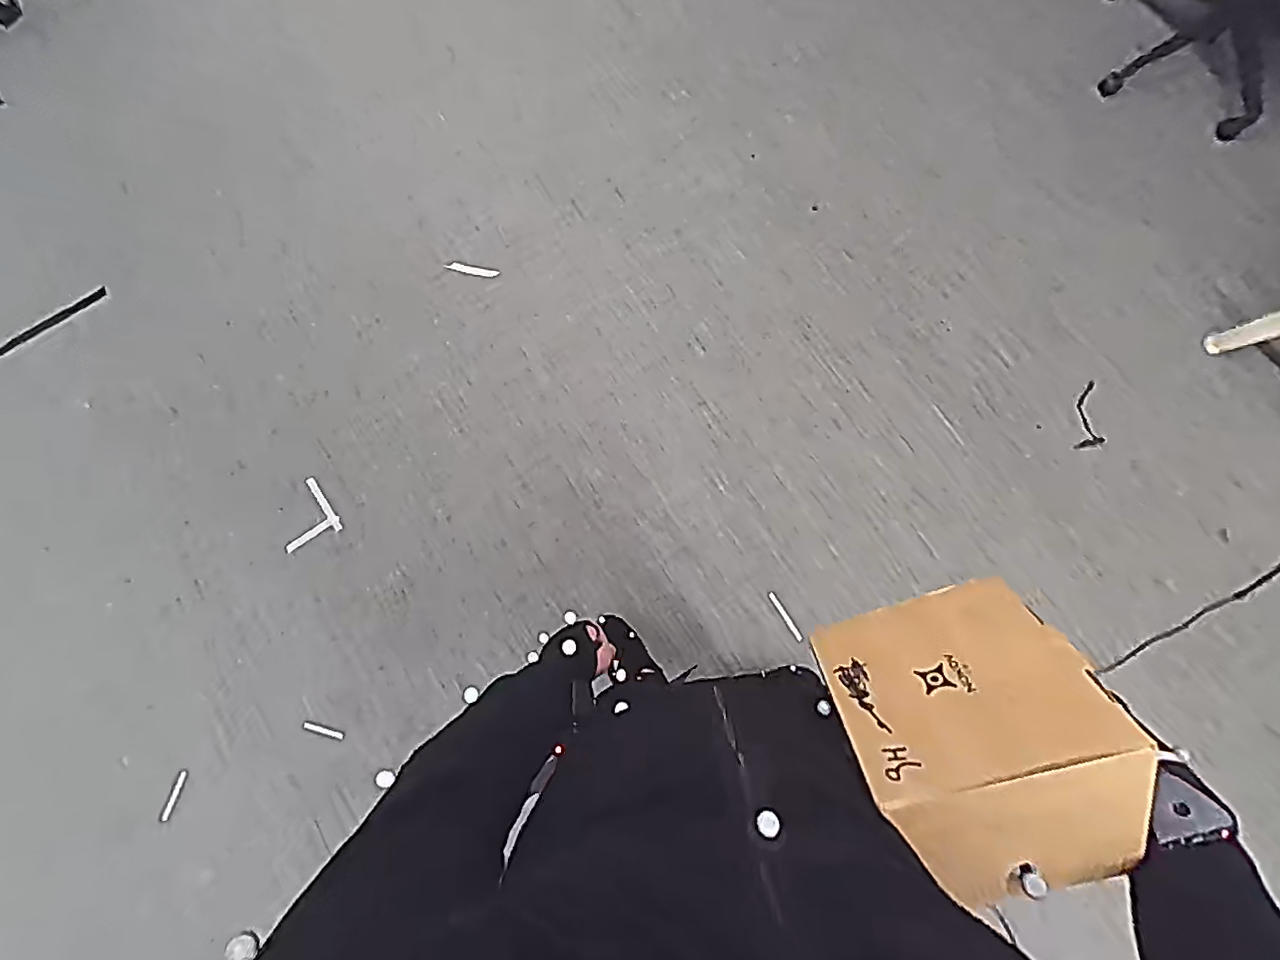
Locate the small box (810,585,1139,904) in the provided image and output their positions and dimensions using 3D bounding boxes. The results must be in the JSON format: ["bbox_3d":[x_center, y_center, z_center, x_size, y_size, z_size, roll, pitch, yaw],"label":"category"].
[{"bbox_3d":[0.272,0.228,0.472,0.179,0.168,0.176,-20,118,9],"label":"small box"}]
